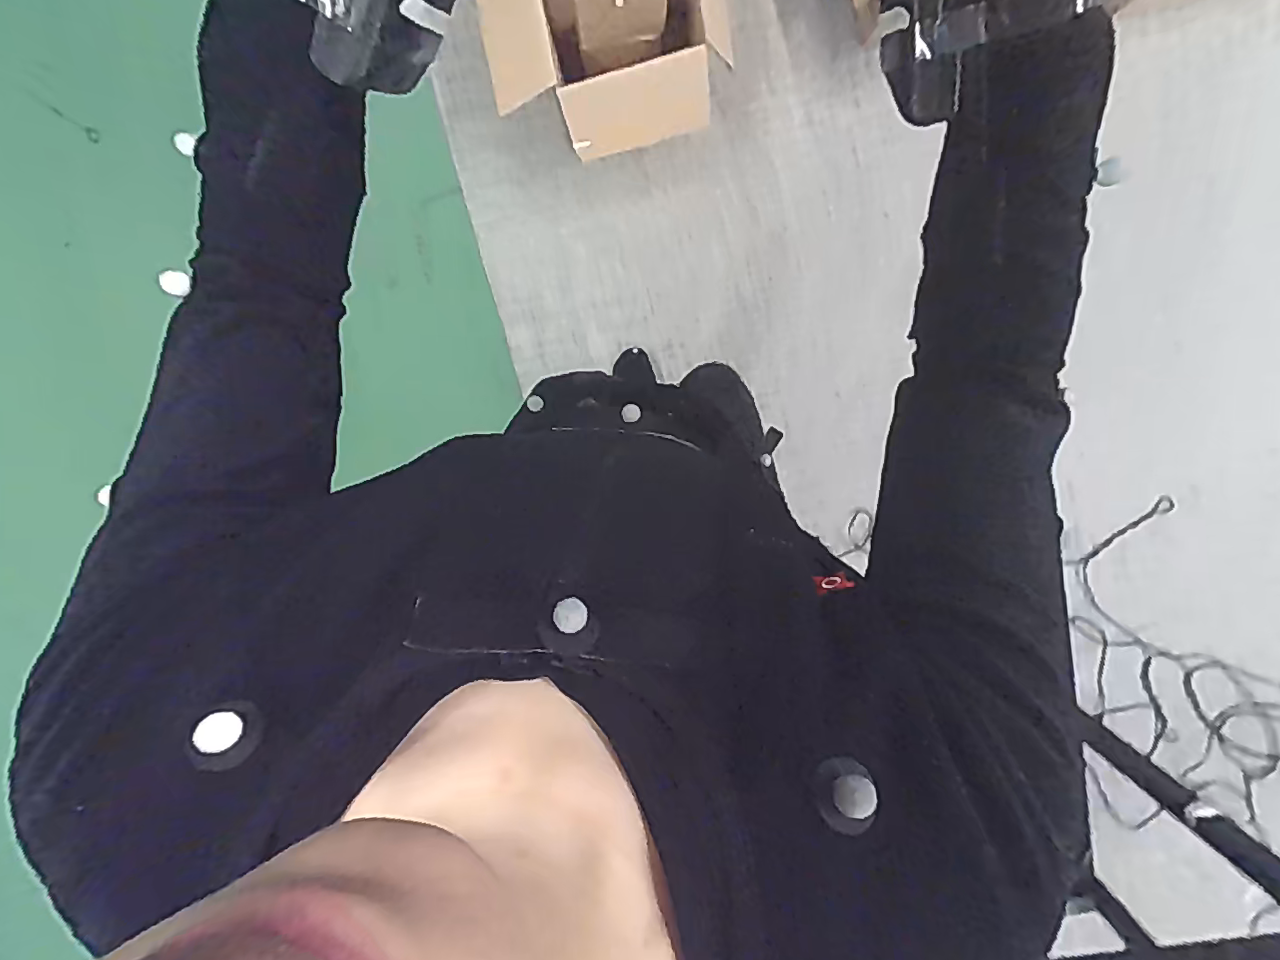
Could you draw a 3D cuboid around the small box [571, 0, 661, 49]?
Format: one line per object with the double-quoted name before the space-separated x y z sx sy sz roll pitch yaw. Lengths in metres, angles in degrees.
"small box" -0.055 -0.989 1.049 0.179 0.176 0.168 -10 98 3
